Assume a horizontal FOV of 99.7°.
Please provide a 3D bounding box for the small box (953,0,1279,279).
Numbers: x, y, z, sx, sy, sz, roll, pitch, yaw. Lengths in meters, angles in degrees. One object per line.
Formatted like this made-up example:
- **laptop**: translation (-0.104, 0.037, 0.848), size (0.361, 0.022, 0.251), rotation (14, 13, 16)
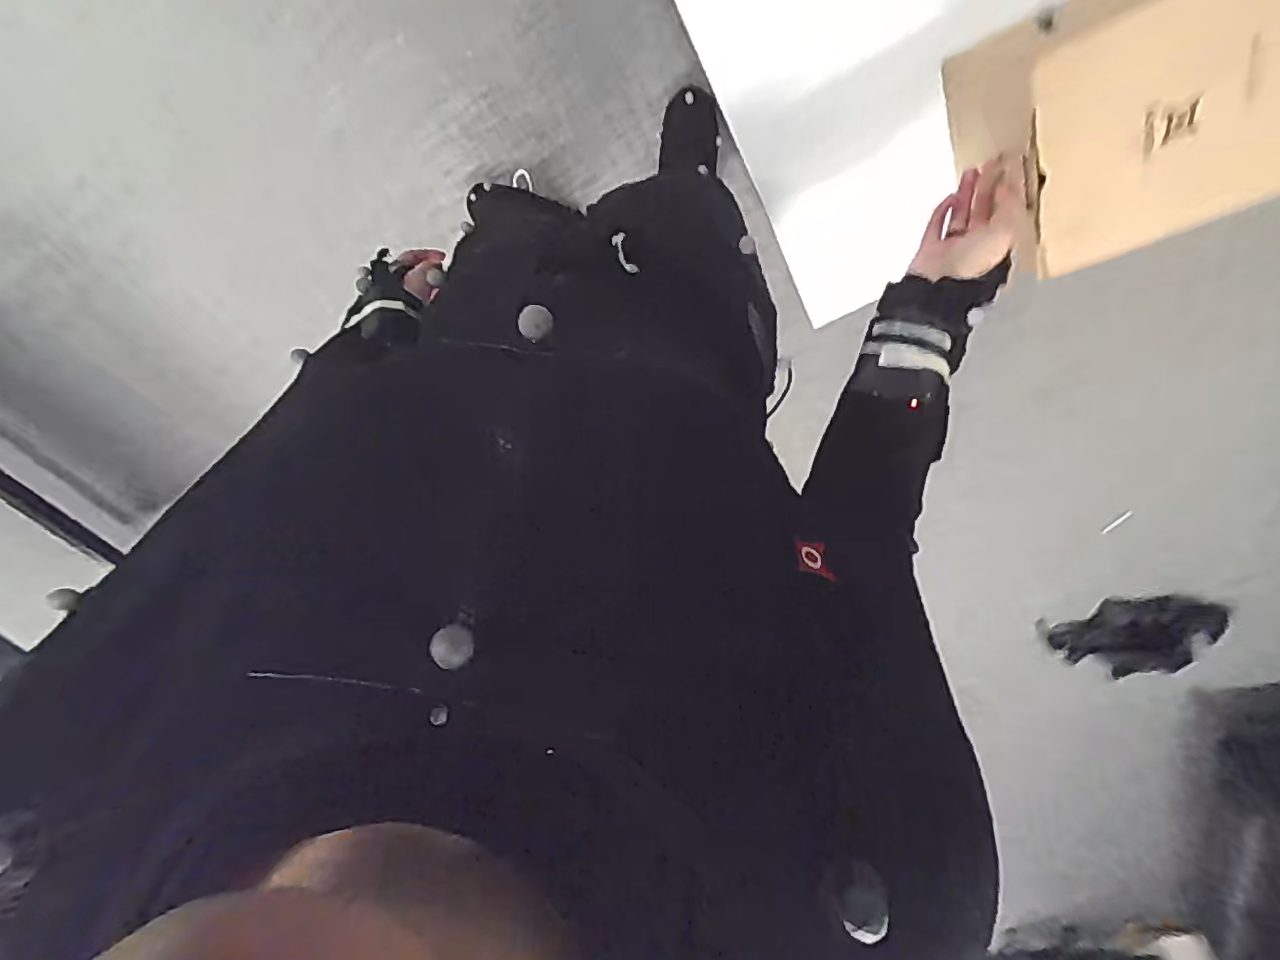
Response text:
- **small box**: translation (0.383, -0.299, 0.450), size (0.179, 0.176, 0.168), rotation (-18, 124, 17)
